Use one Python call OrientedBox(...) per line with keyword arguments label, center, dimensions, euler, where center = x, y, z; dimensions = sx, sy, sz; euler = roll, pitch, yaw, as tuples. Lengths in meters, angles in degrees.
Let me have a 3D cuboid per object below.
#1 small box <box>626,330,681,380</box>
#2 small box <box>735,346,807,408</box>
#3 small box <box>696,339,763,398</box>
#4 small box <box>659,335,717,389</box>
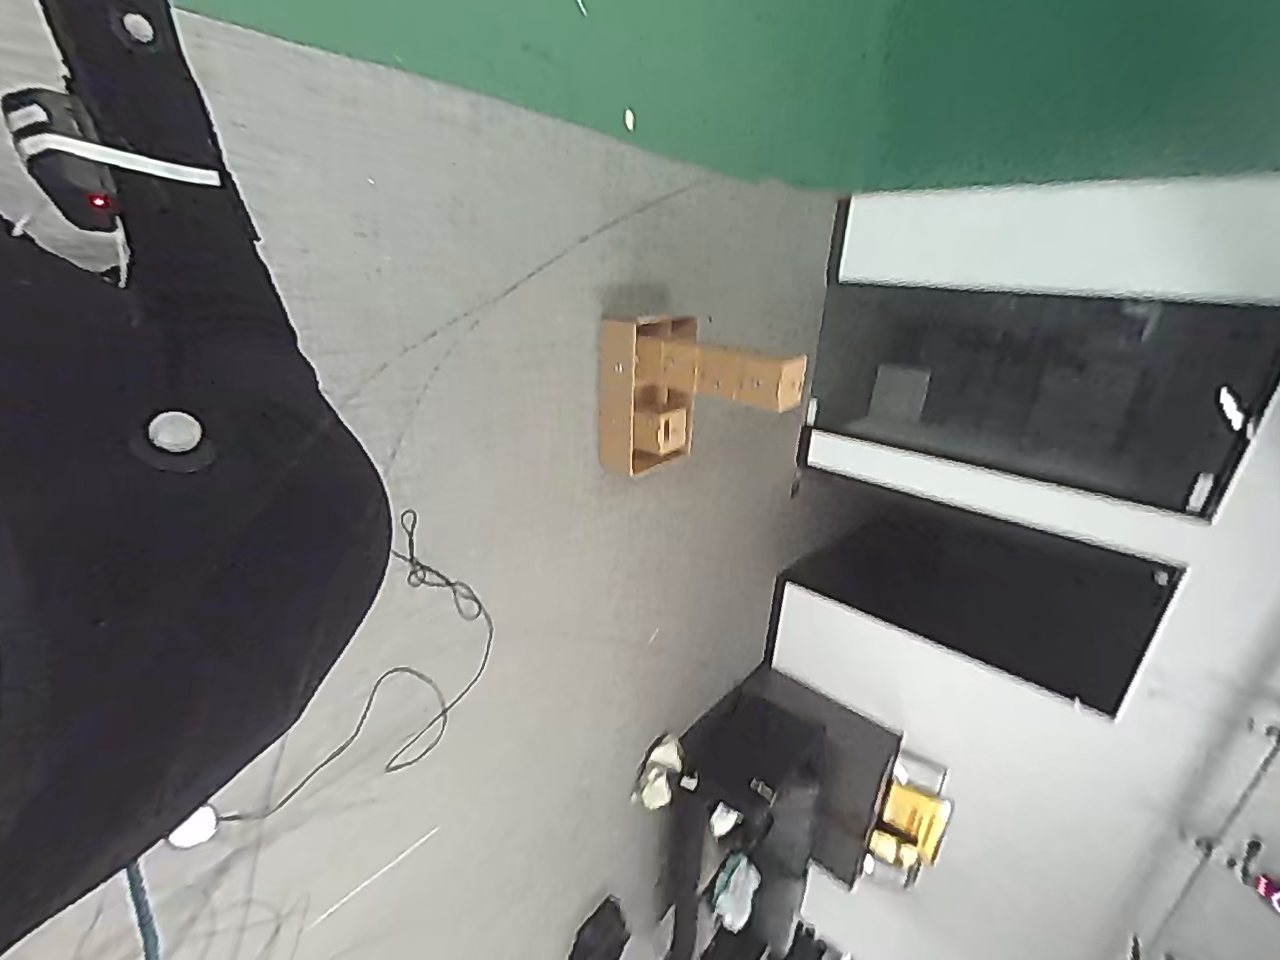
OrientedBox(label="small box", center=(0.068, -0.500, 2.141), dimensions=(0.179, 0.176, 0.168), euler=(-21, 123, -46))
OrientedBox(label="small box", center=(0.447, -0.358, 1.865), dimensions=(0.179, 0.176, 0.168), euler=(-24, 127, -44))
OrientedBox(label="small box", center=(0.321, -0.407, 1.957), dimensions=(0.179, 0.176, 0.168), euler=(-25, 127, -44))
OrientedBox(label="small box", center=(0.193, -0.452, 2.048), dimensions=(0.179, 0.176, 0.168), euler=(-23, 125, -45))
